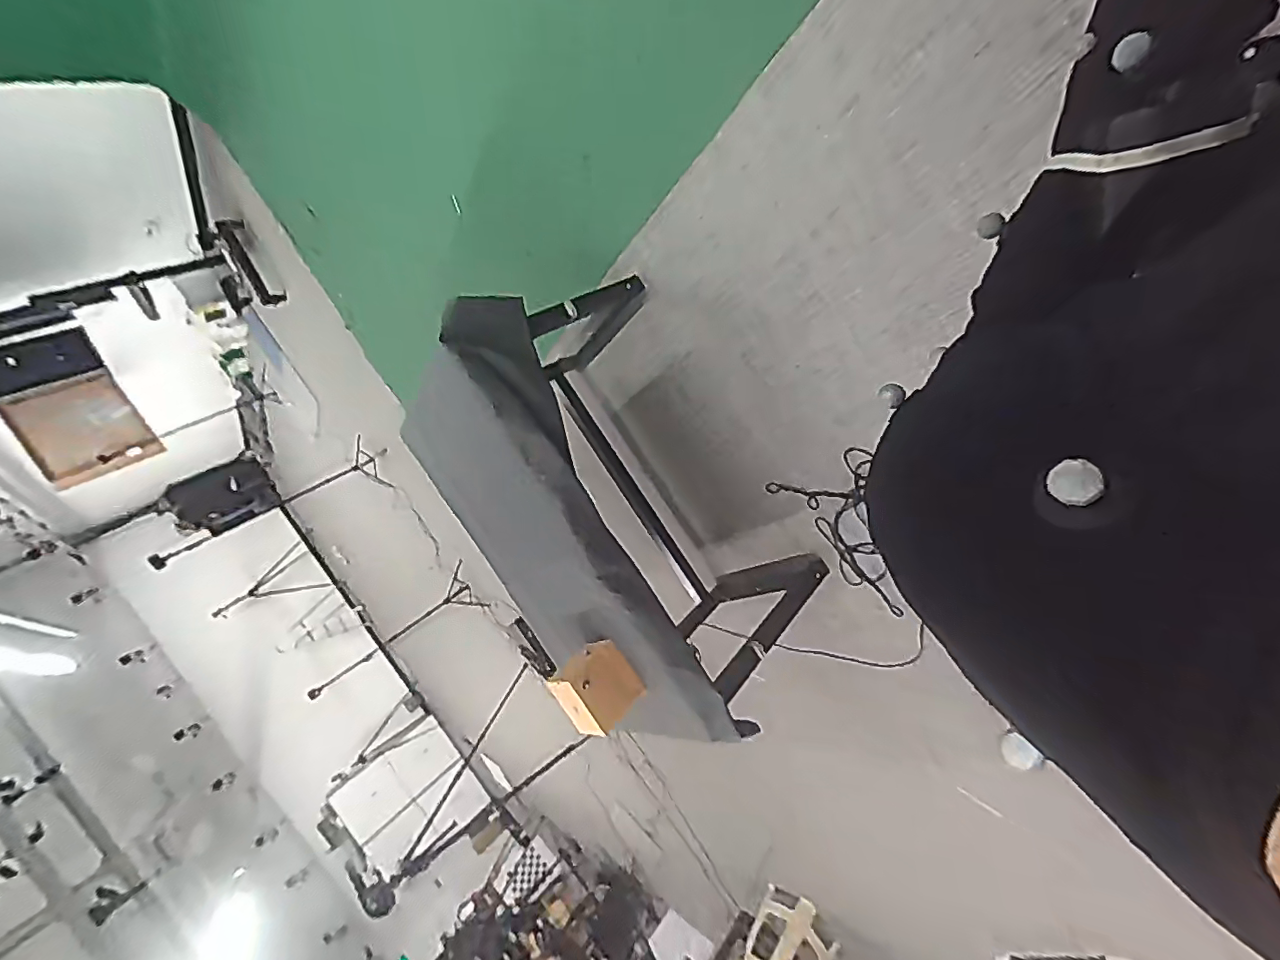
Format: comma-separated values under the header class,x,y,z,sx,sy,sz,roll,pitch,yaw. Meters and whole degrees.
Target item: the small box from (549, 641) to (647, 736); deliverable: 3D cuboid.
class,x,y,z,sx,sy,sz,roll,pitch,yaw
small box,-0.112,0.567,1.481,0.179,0.176,0.168,56,144,-1
